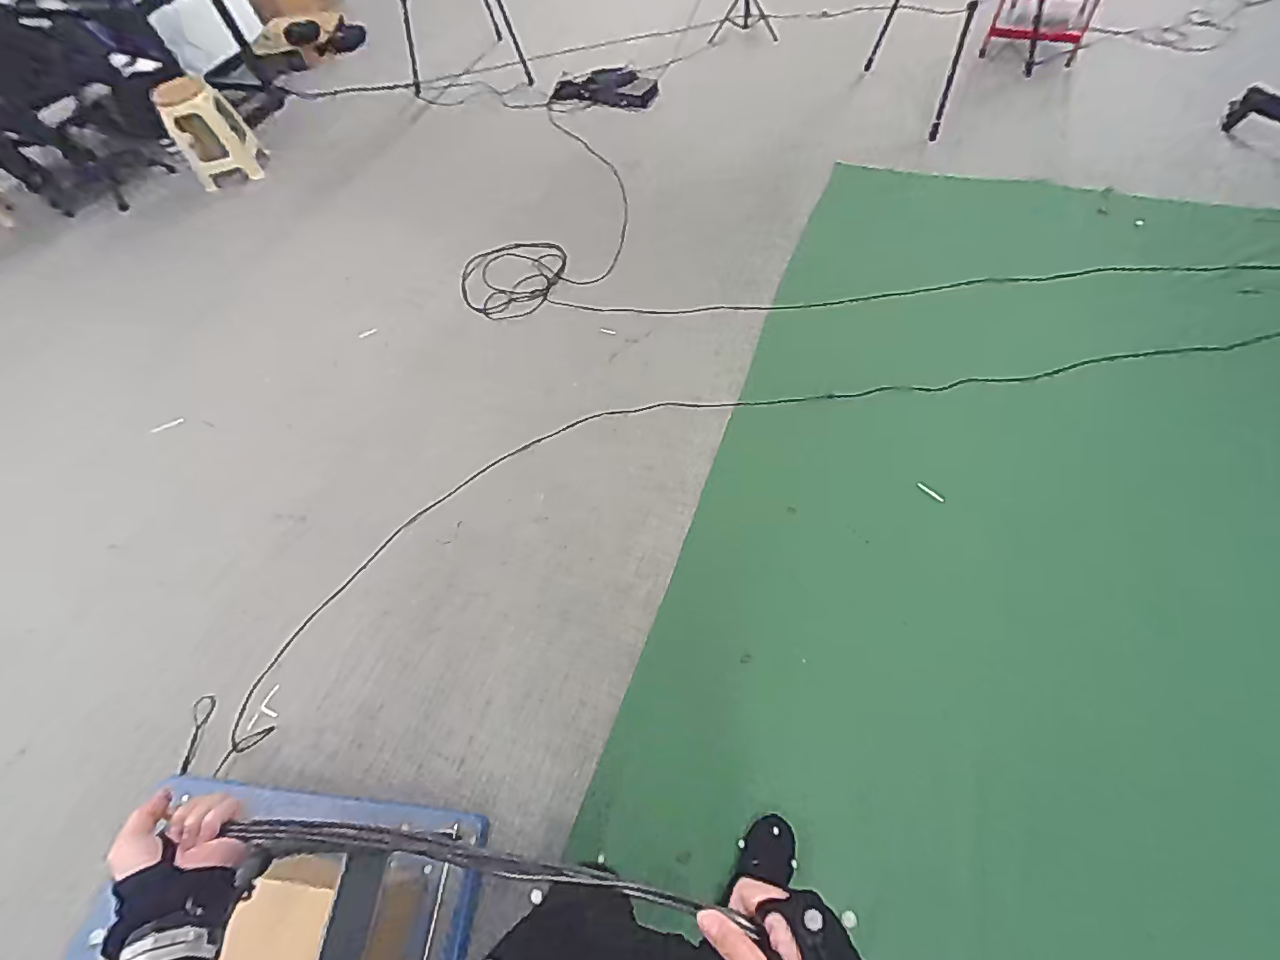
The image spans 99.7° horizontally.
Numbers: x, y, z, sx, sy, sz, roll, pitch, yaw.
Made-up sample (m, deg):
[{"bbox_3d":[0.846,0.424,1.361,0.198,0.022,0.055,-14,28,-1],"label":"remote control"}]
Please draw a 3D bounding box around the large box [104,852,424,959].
[{"bbox_3d":[-0.685,0.901,0.997,0.408,0.320,0.320,1,58,9],"label":"large box"}]
